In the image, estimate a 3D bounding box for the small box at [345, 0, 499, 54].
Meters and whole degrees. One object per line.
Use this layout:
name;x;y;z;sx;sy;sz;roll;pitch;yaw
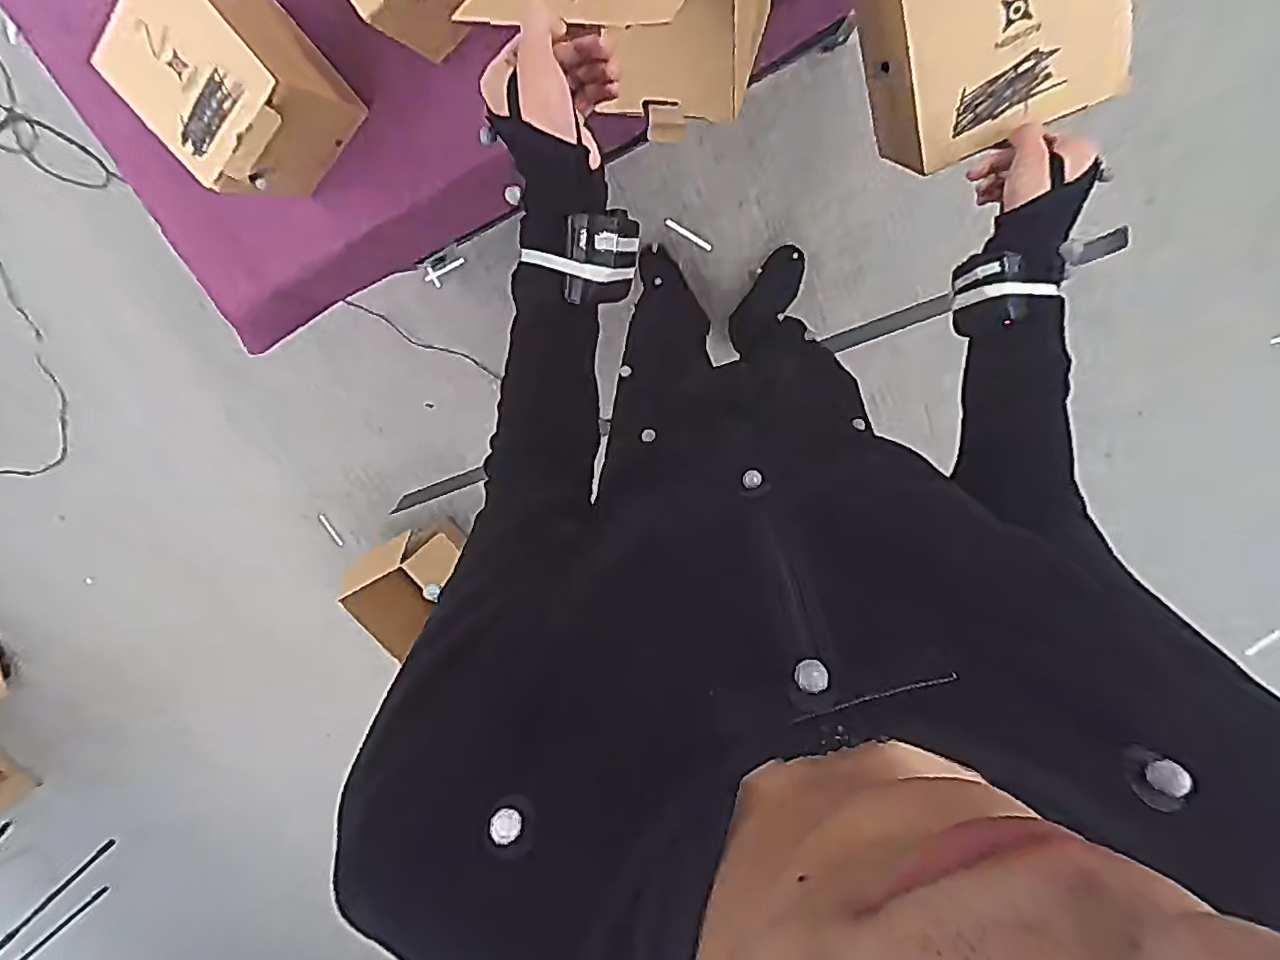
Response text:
small box;-0.257;-0.611;0.588;0.168;0.176;0.179;-29;108;19

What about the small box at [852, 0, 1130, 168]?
small box;0.311;-0.427;0.504;0.168;0.176;0.179;-17;122;18

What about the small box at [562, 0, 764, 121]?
small box;0.030;-0.501;0.533;0.168;0.179;0.176;14;77;13
